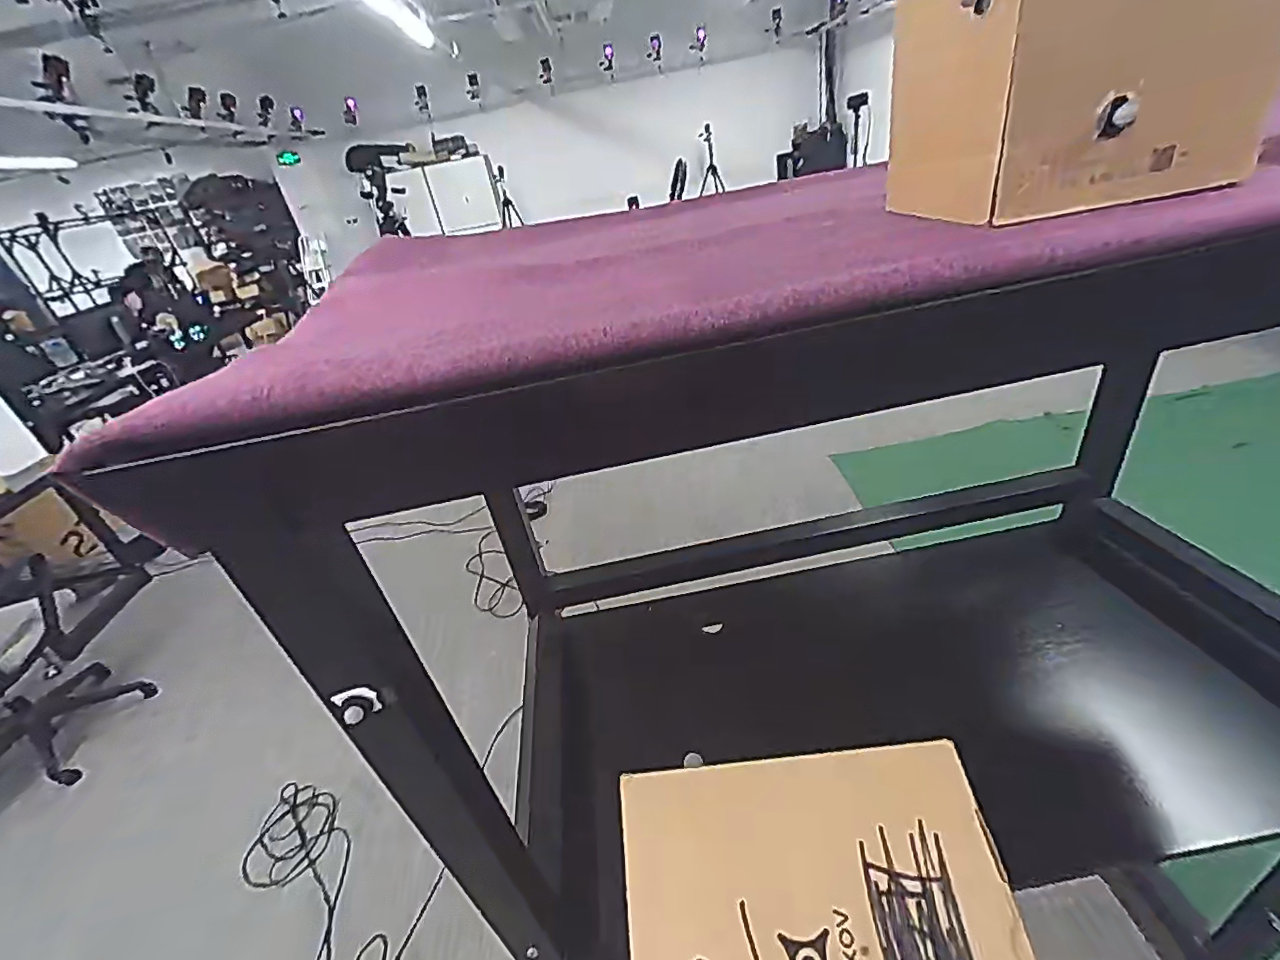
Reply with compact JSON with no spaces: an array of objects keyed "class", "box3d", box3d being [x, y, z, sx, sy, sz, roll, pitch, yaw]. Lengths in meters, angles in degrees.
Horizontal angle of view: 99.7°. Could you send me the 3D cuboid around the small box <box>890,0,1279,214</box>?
[{"class":"small box","box3d":[0.297,-0.299,0.390,0.168,0.176,0.179,-10,30,4]}]
